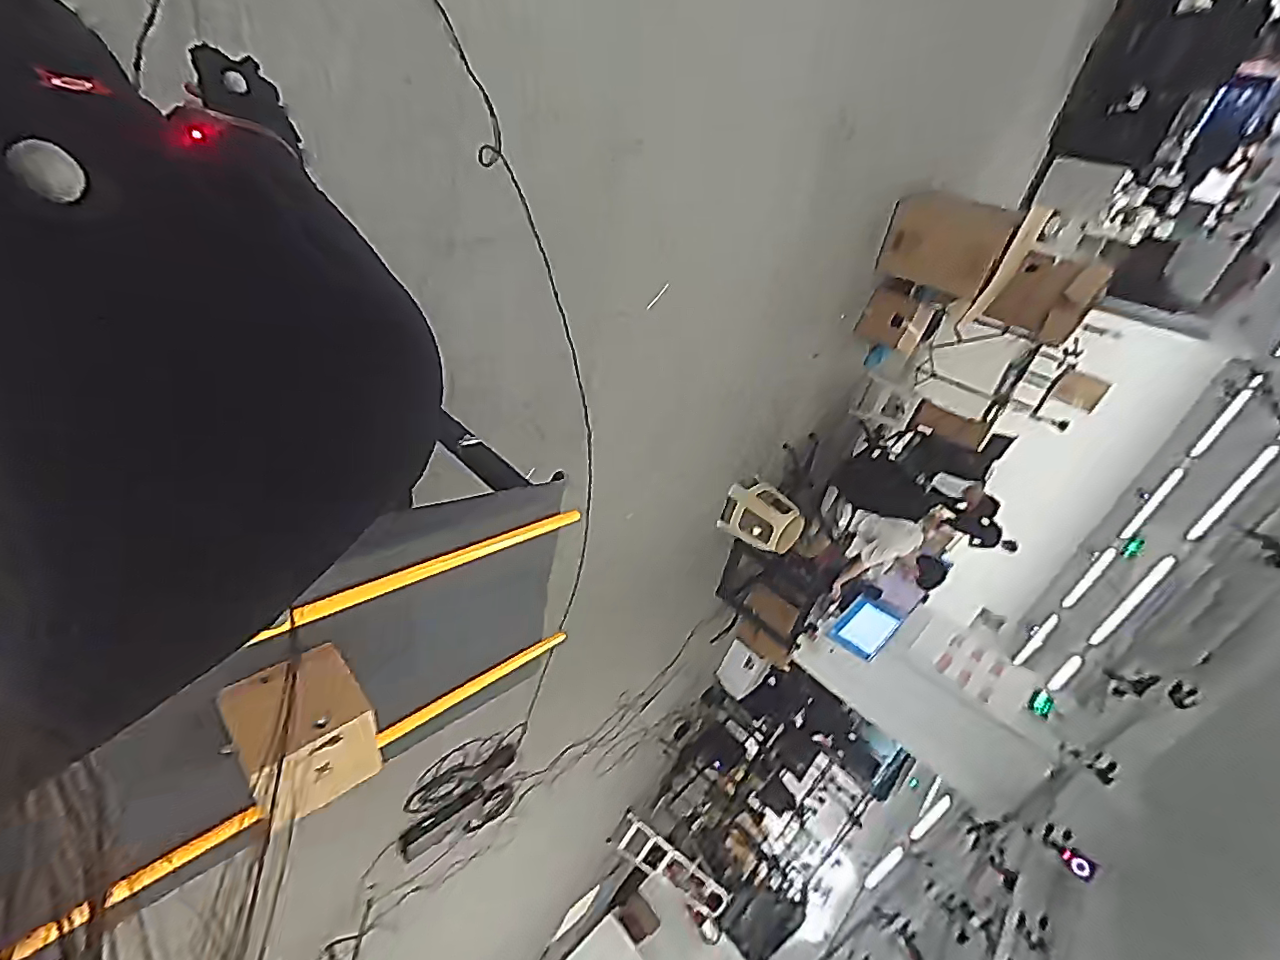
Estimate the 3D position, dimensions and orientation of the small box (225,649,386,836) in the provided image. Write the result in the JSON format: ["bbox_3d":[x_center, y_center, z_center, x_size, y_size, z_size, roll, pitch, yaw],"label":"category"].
[{"bbox_3d":[-0.534,0.413,0.874,0.168,0.176,0.179,-24,137,-41],"label":"small box"}]
